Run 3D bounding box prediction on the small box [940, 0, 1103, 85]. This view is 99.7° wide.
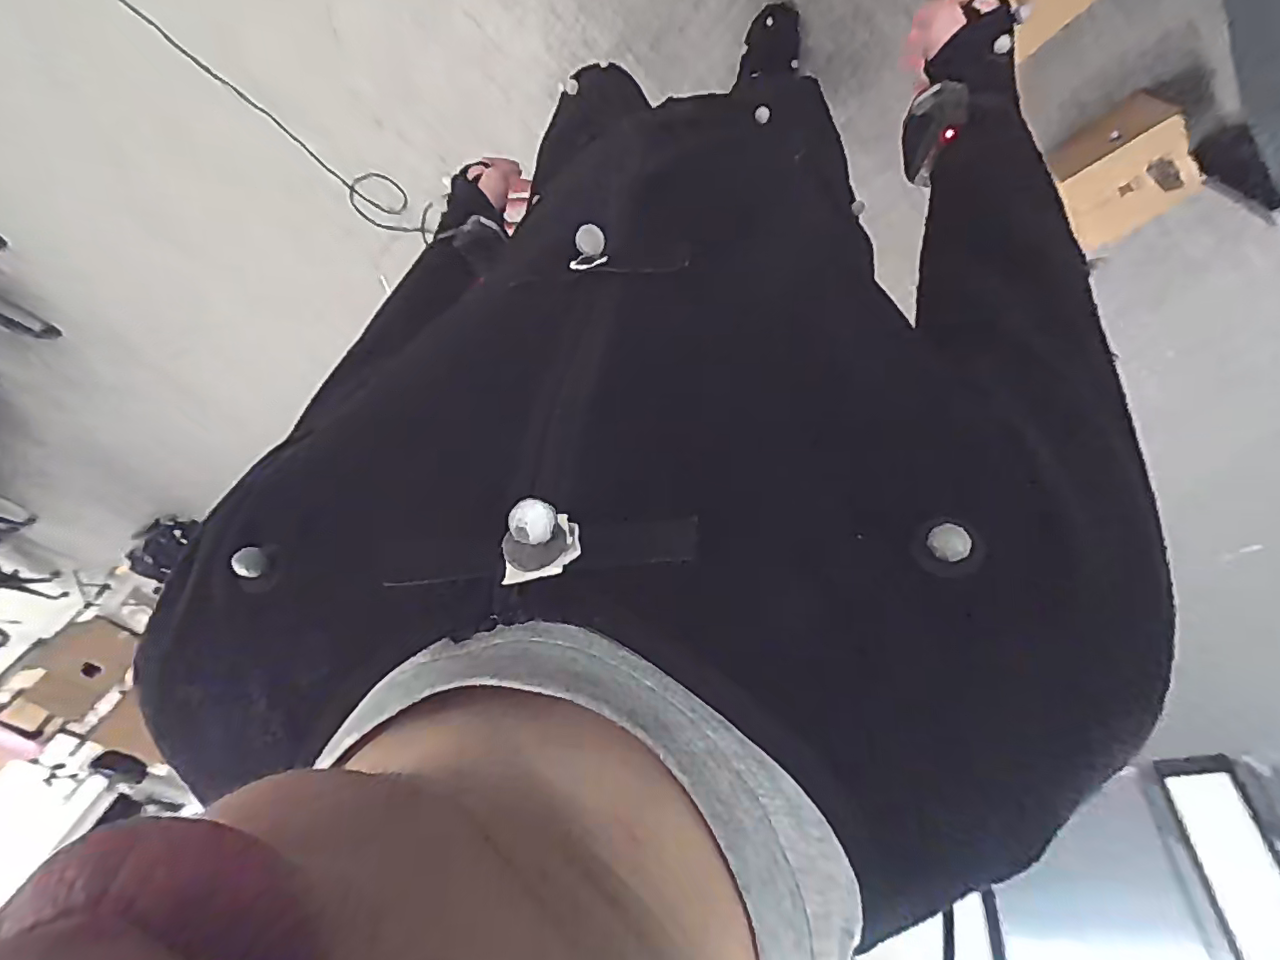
[{"bbox_3d":[0.634,-0.821,0.913,0.168,0.176,0.179,38,131,-21],"label":"small box"}]

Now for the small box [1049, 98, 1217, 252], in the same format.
[{"bbox_3d":[0.936,-0.587,1.040,0.168,0.176,0.179,42,133,-23],"label":"small box"}]
